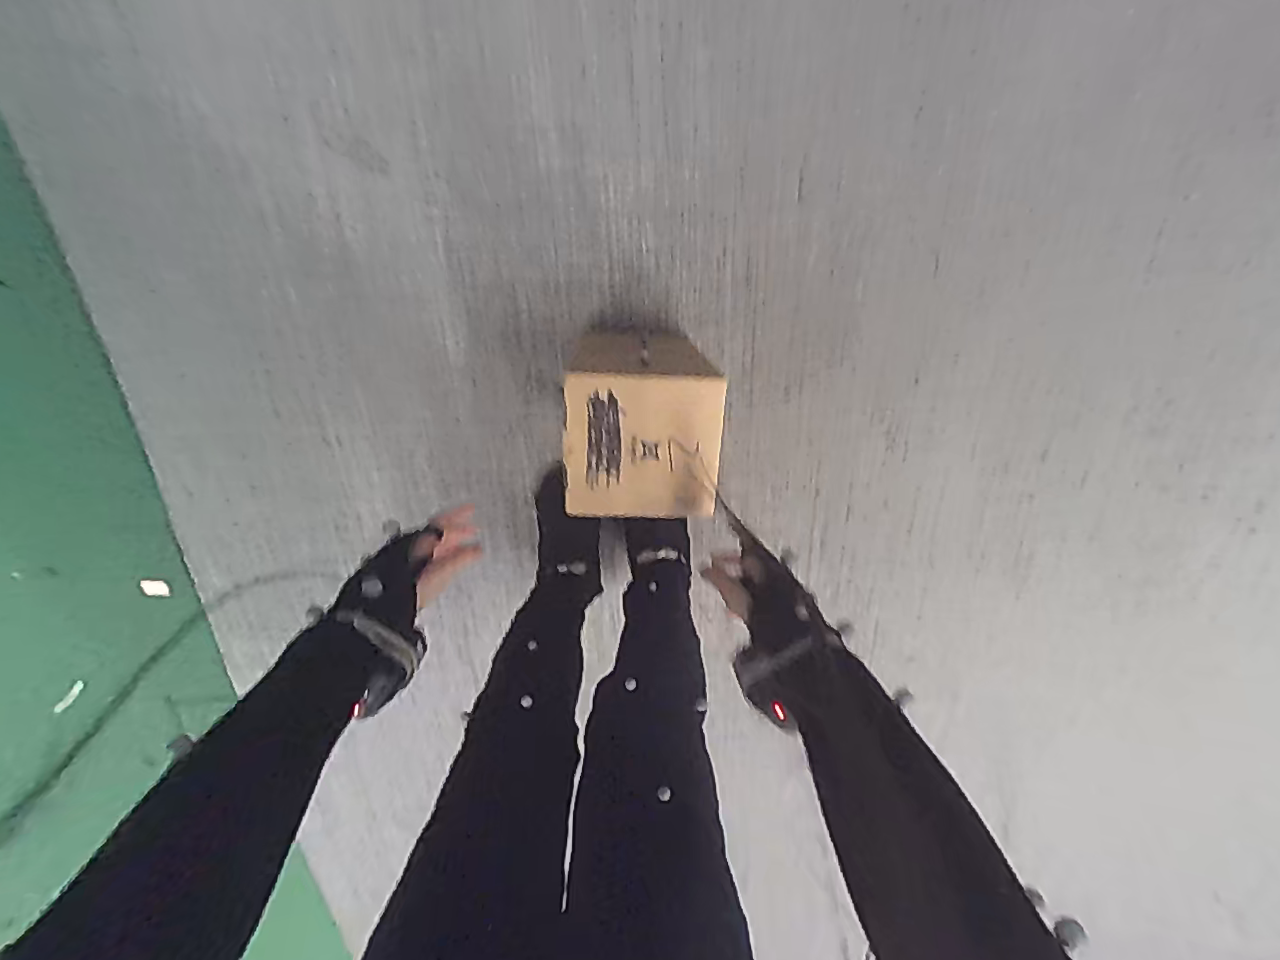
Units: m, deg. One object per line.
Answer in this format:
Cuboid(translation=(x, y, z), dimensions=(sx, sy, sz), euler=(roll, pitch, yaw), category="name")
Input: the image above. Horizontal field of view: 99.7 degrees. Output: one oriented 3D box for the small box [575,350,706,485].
Cuboid(translation=(-0.005, -0.103, 0.832), dimensions=(0.179, 0.176, 0.168), euler=(3, 111, -3), category="small box")
